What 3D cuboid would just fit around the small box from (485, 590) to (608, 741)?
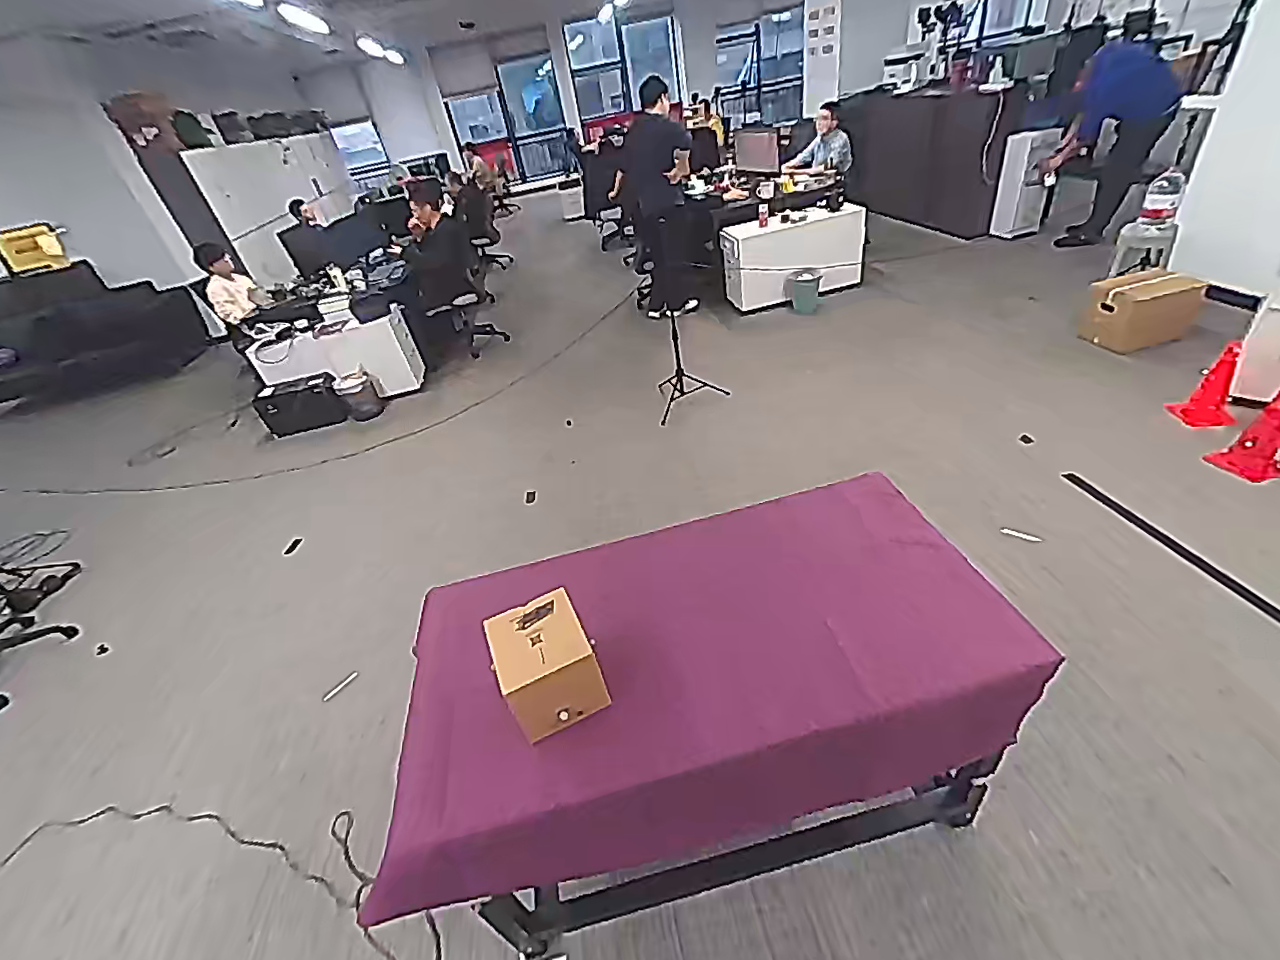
[{"bbox_3d":[-0.175,0.349,1.021,0.168,0.176,0.179,-23,38,-13],"label":"small box"}]
